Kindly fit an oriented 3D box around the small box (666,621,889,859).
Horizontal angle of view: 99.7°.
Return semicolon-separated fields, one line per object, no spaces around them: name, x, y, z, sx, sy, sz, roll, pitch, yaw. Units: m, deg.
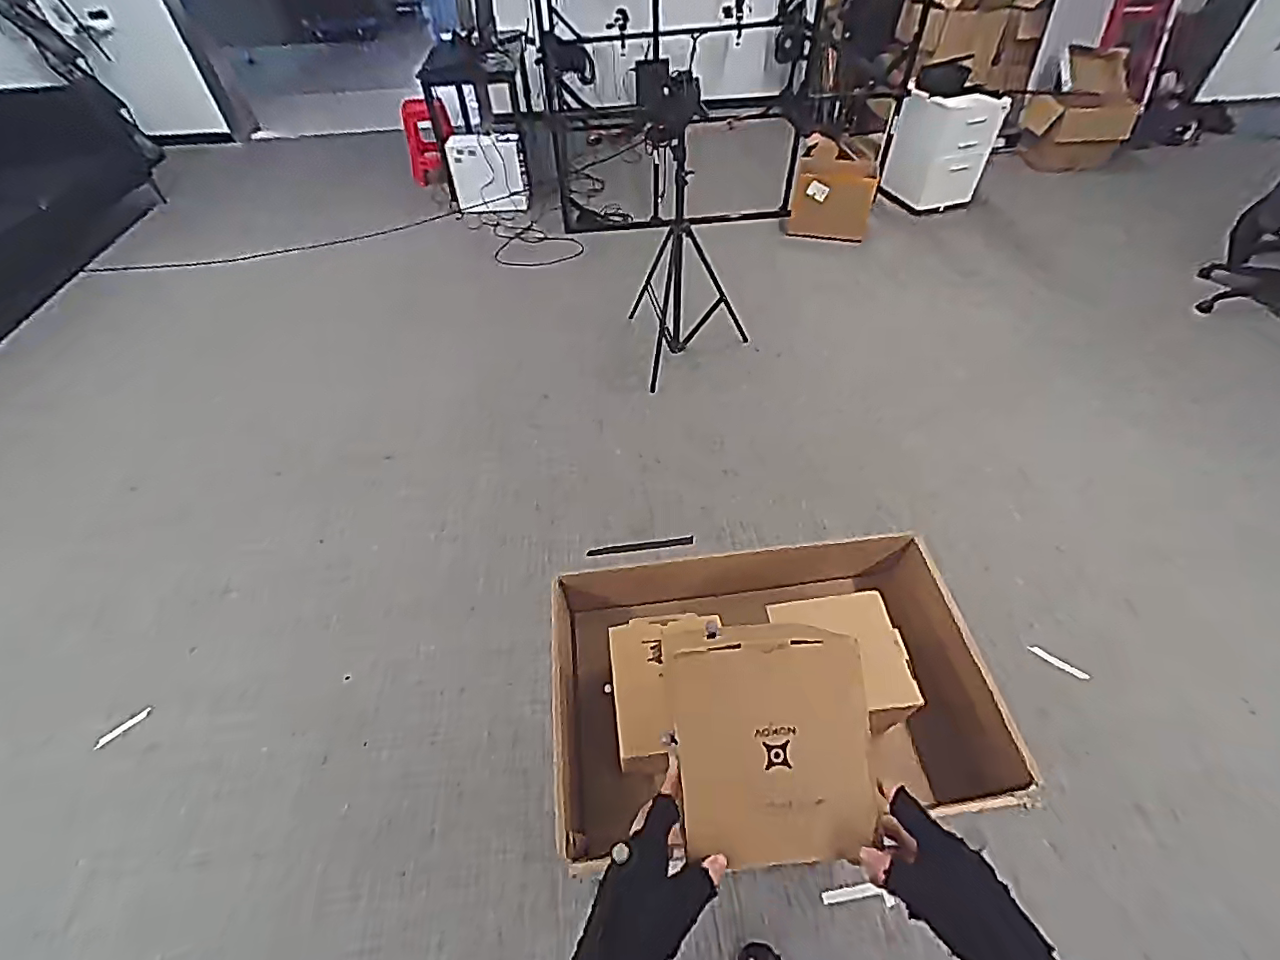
small box;0.118;0.236;0.539;0.168;0.176;0.179;-4;80;-2

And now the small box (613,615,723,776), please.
small box;0.048;0.322;0.804;0.168;0.176;0.179;-6;55;-4

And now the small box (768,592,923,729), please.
small box;0.286;0.288;0.825;0.179;0.176;0.168;-7;53;-2
